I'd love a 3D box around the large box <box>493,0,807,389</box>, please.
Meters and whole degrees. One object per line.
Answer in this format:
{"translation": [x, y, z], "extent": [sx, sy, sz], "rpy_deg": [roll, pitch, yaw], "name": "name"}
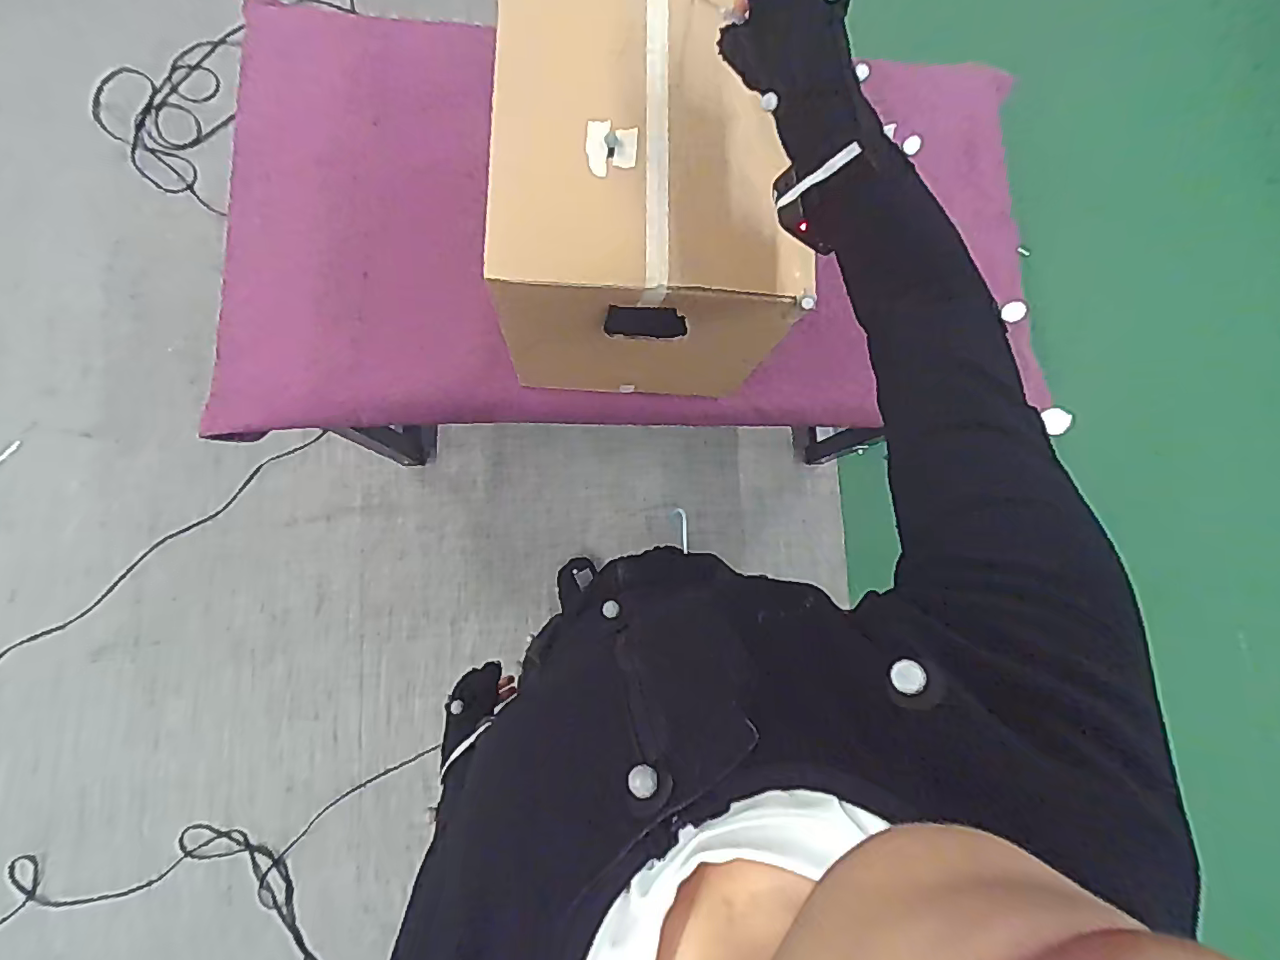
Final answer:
{"translation": [-0.004, -0.359, 0.688], "extent": [0.320, 0.320, 0.408], "rpy_deg": [2, 83, -6], "name": "large box"}
